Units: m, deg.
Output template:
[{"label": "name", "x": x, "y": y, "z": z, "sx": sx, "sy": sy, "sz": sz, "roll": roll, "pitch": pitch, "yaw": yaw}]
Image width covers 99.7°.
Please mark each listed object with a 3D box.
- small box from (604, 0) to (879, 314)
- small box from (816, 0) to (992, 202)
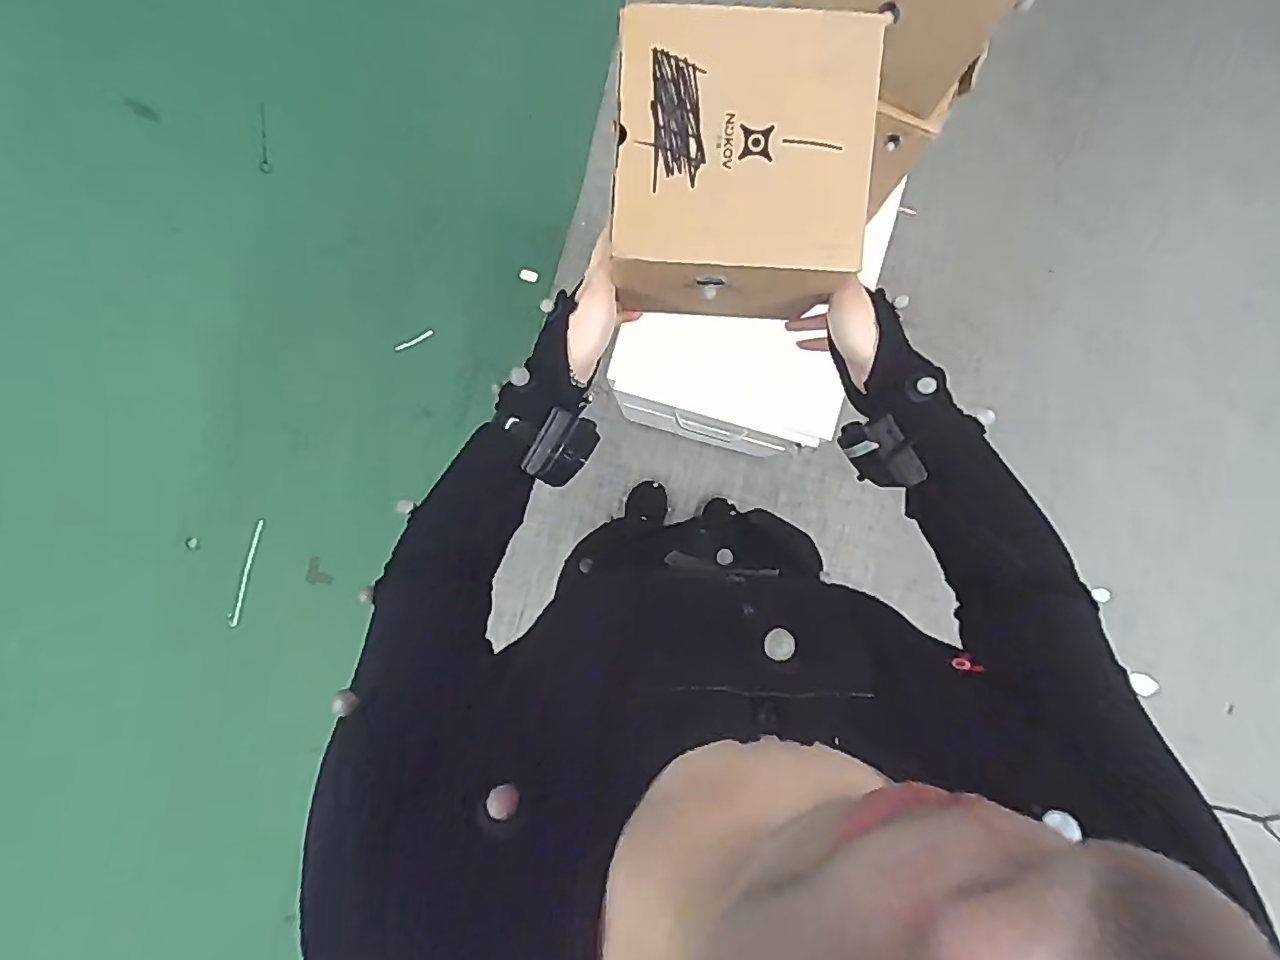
[{"label": "small box", "x": 0.069, "y": -0.239, "z": 0.444, "sx": 0.179, "sy": 0.176, "sz": 0.168, "roll": 3, "pitch": 95, "yaw": 1}, {"label": "small box", "x": 0.274, "y": -0.479, "z": 0.666, "sx": 0.179, "sy": 0.176, "sz": 0.168, "roll": 22, "pitch": 91, "yaw": 2}]
